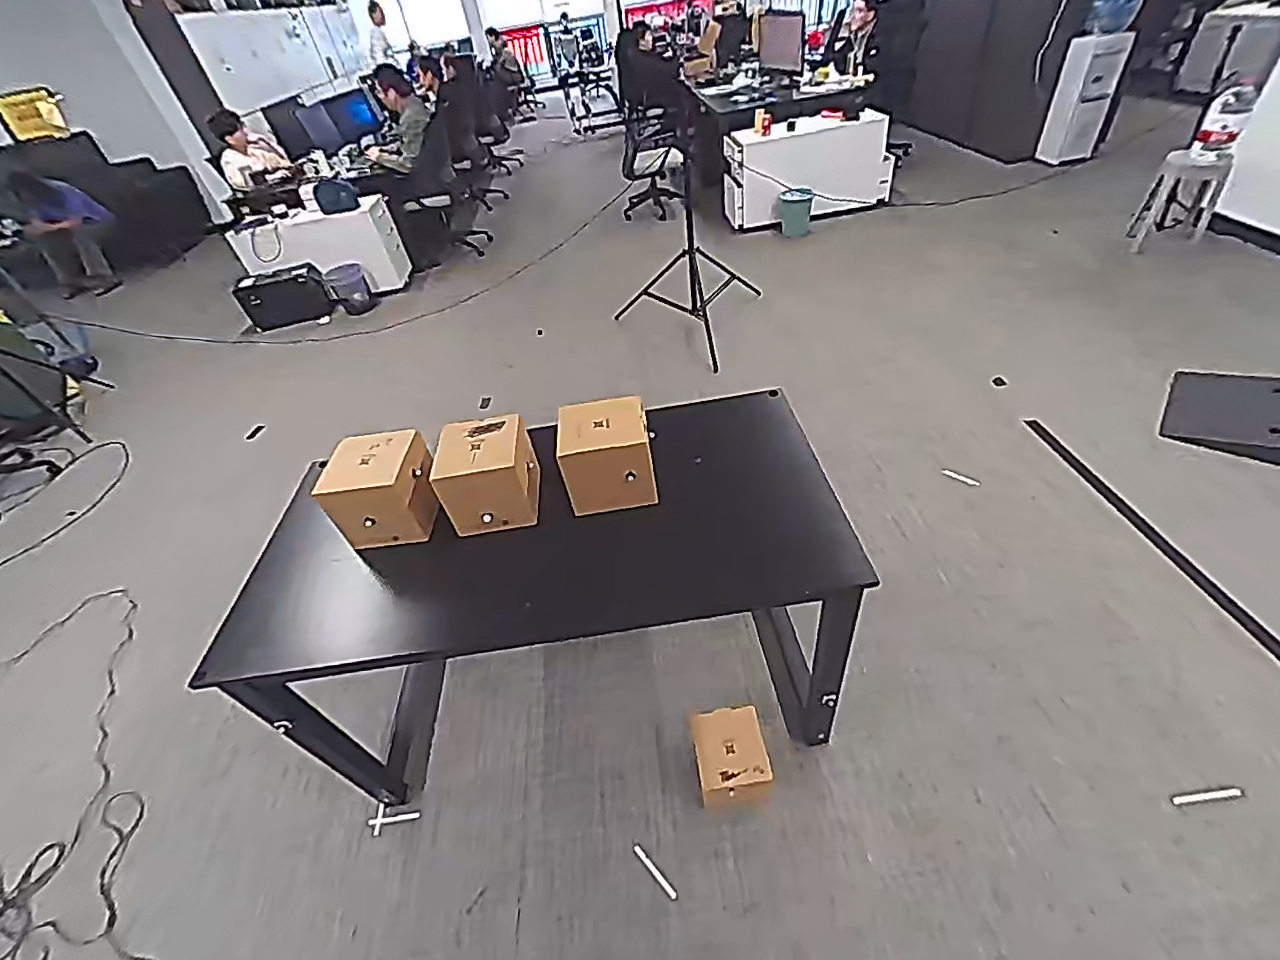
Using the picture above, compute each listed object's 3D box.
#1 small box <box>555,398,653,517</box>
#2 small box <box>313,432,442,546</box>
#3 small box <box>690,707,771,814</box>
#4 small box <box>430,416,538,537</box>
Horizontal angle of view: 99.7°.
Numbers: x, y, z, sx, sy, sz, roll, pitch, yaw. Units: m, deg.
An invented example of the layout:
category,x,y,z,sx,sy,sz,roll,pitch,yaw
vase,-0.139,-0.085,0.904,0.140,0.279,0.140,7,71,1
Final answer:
category,x,y,z,sx,sy,sz,roll,pitch,yaw
small box,-0.069,-0.045,1.126,0.179,0.176,0.168,-10,41,2
small box,-0.537,0.025,1.140,0.168,0.176,0.179,-7,42,3
small box,0.221,0.697,1.343,0.168,0.176,0.179,-10,42,1
small box,-0.315,-0.007,1.130,0.168,0.176,0.179,-10,43,0
